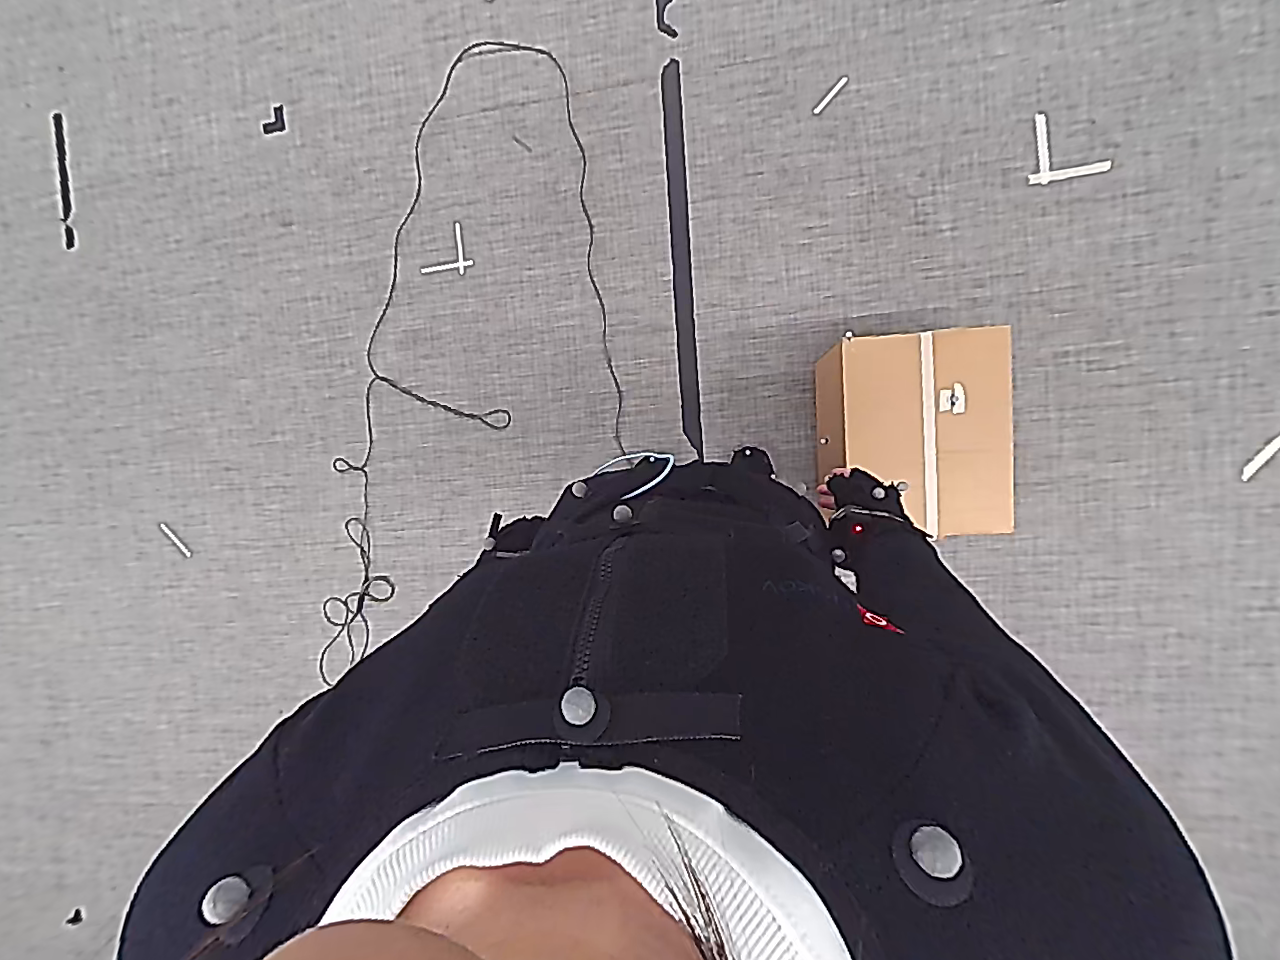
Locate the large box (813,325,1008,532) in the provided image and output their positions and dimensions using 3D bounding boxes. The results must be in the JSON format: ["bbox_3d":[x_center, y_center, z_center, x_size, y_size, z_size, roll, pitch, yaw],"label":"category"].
[{"bbox_3d":[0.586,-0.104,1.233,0.320,0.320,0.408,-3,92,7],"label":"large box"}]
